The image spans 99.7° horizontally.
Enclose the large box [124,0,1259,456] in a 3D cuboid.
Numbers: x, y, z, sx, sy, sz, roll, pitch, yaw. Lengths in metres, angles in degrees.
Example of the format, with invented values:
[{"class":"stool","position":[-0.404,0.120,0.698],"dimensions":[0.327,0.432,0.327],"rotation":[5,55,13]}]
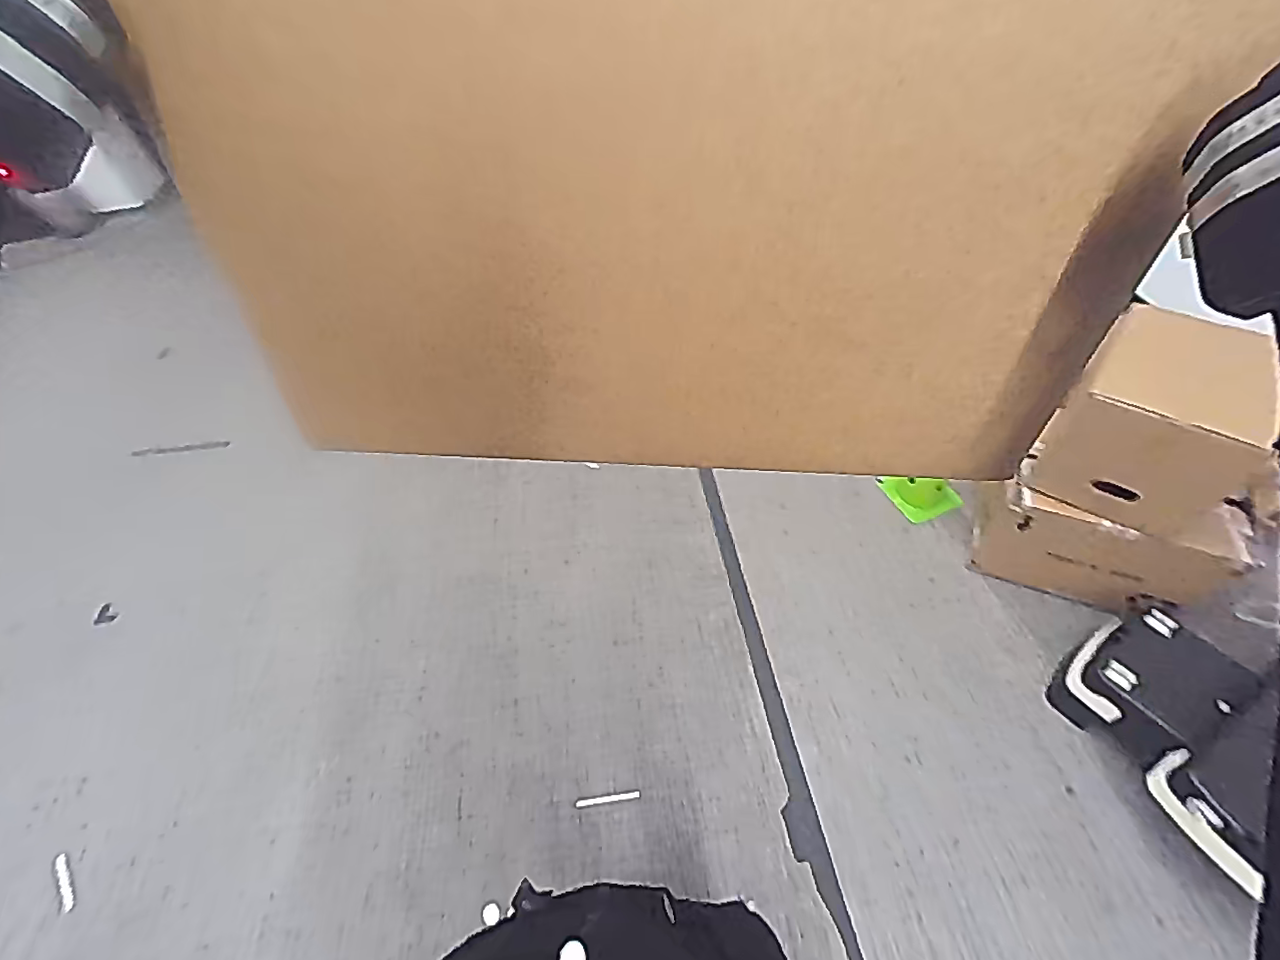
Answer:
[{"class":"large box","position":[0.015,-0.228,0.327],"dimensions":[0.408,0.320,0.320],"rotation":[3,42,-1]}]
